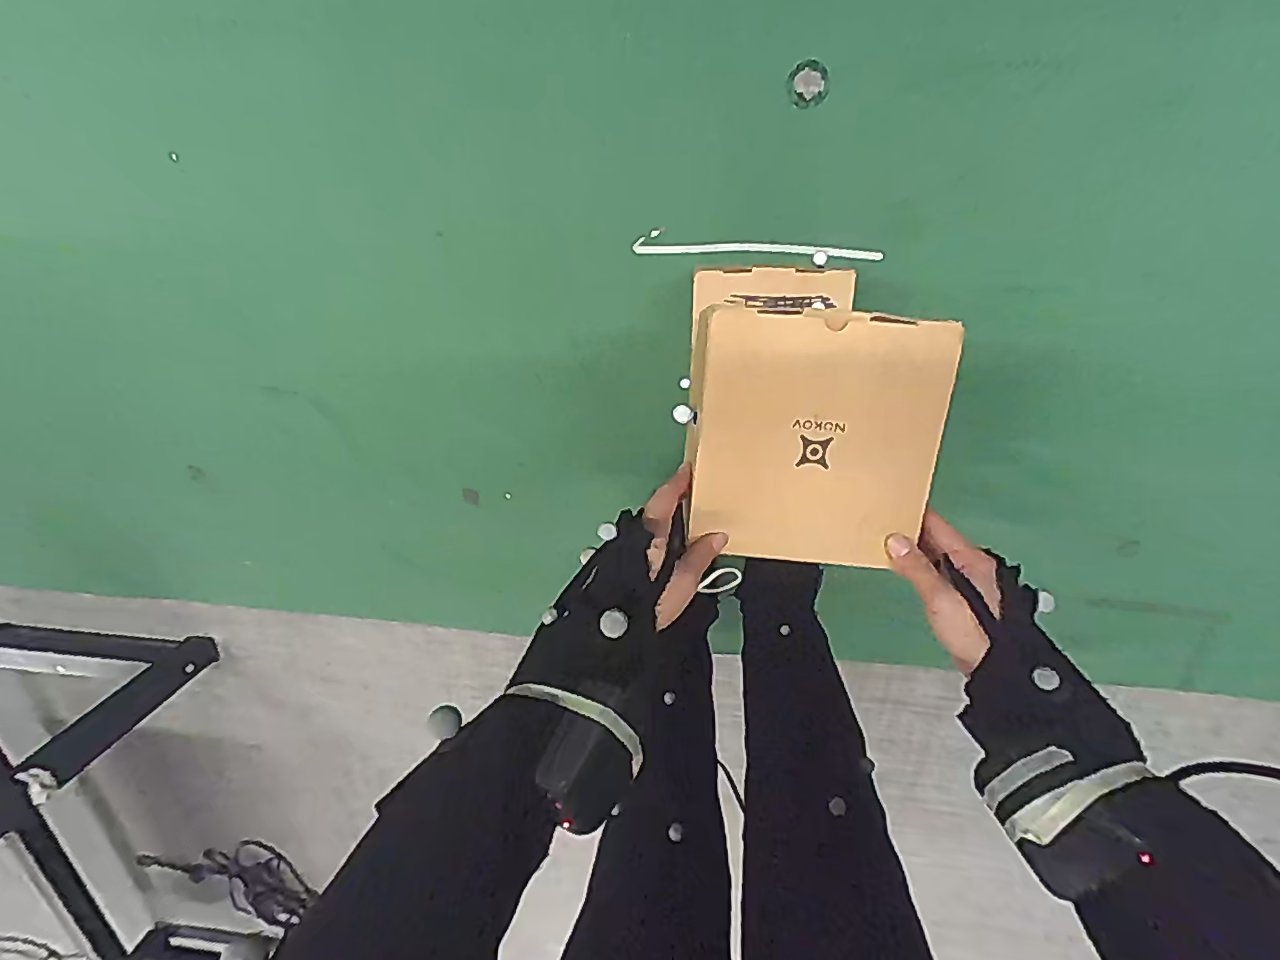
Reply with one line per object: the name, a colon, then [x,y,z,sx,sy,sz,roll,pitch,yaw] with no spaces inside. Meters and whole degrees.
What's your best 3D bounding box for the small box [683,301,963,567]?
small box: [0.126,-0.048,0.450,0.168,0.176,0.179,5,105,2]
